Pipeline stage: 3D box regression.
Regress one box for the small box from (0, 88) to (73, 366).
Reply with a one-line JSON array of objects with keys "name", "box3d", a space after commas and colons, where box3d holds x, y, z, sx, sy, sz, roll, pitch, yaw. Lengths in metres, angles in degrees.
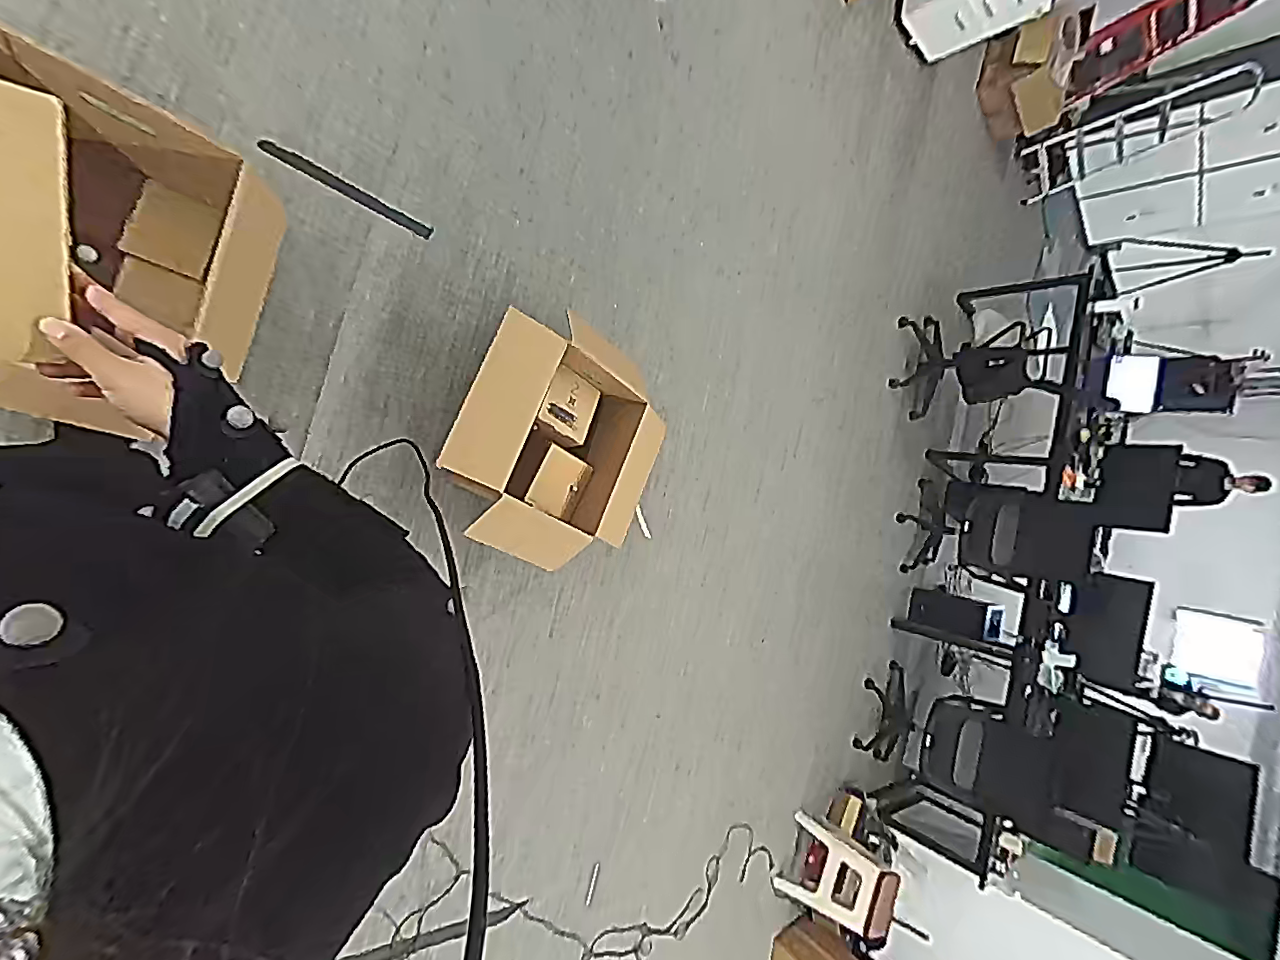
[{"name": "small box", "box3d": [-0.491, -0.177, 0.341, 0.179, 0.176, 0.168, -2, 108, -47]}]
